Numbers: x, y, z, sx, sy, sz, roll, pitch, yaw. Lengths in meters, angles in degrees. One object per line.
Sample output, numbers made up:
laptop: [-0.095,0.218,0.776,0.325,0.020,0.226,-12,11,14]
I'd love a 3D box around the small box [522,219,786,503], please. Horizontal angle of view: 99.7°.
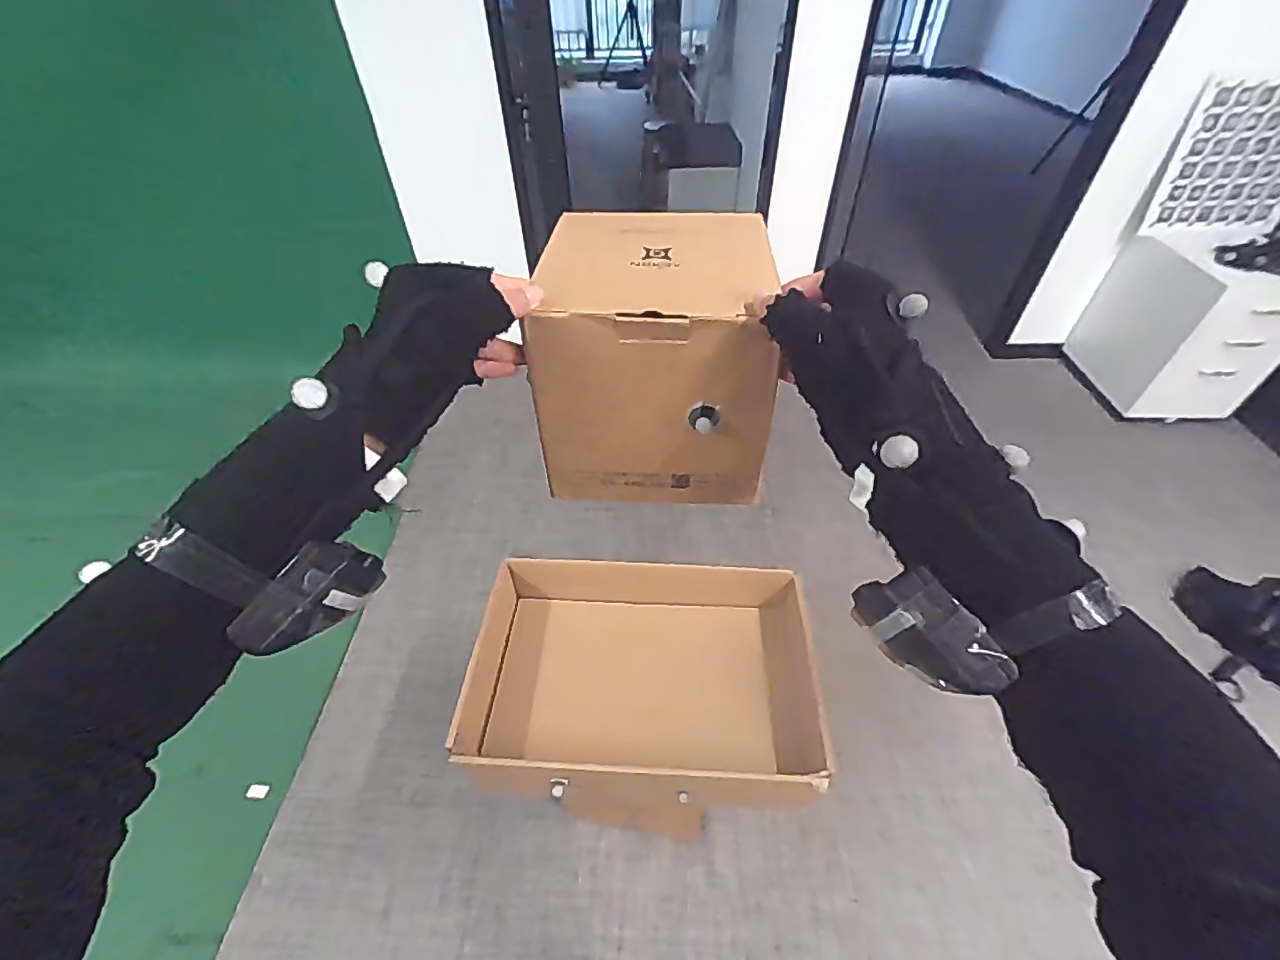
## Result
small box: [0.014,-0.097,0.440,0.168,0.176,0.179,2,43,2]
